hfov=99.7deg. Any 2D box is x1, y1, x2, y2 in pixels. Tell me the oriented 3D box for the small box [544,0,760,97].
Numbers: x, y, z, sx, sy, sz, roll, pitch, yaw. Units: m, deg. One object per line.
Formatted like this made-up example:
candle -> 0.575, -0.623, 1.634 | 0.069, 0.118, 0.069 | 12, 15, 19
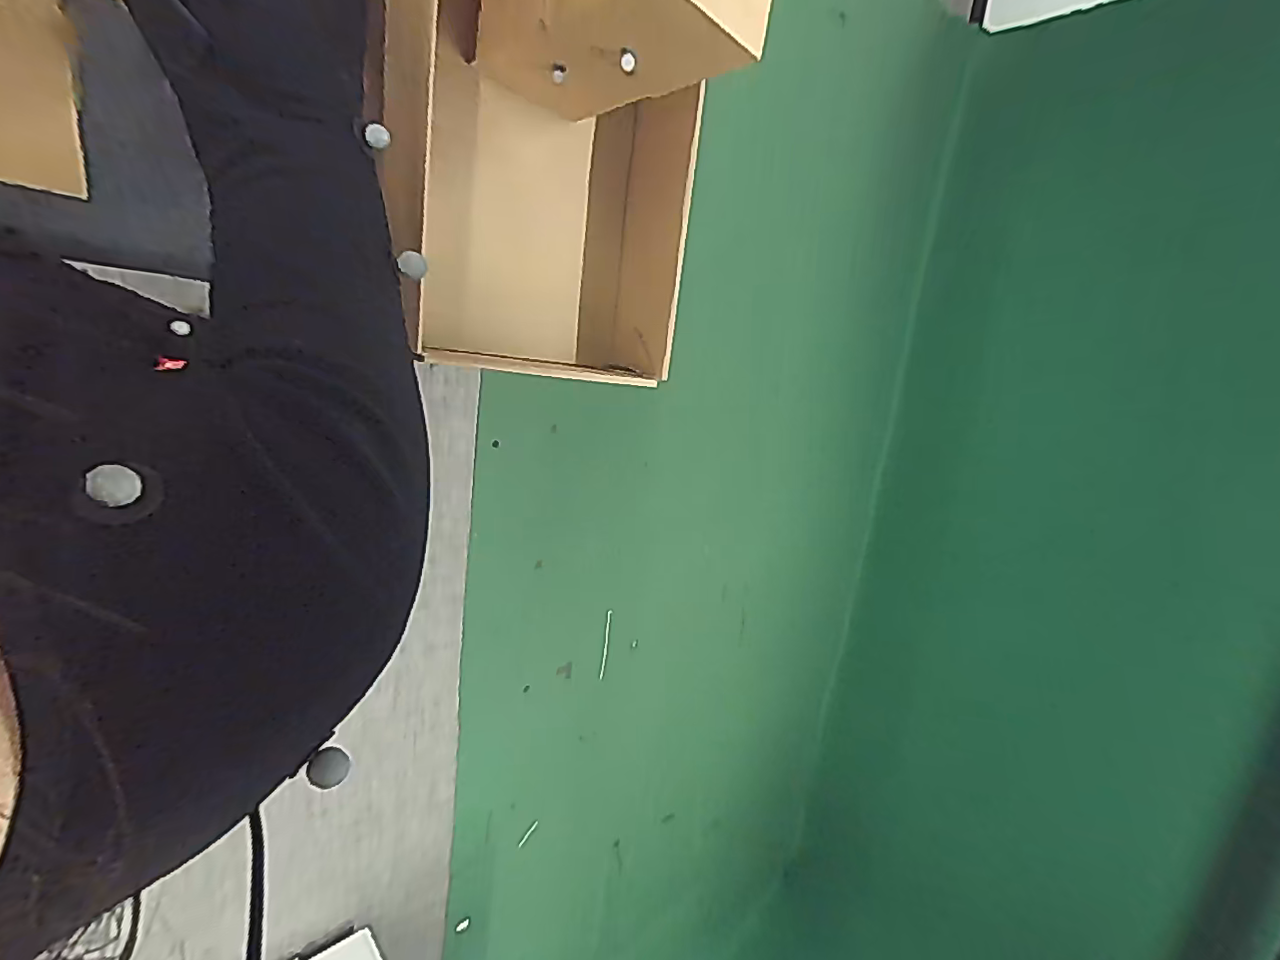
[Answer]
small box -> 0.016, -0.547, 0.566 | 0.168, 0.176, 0.179 | -4, 108, -44
